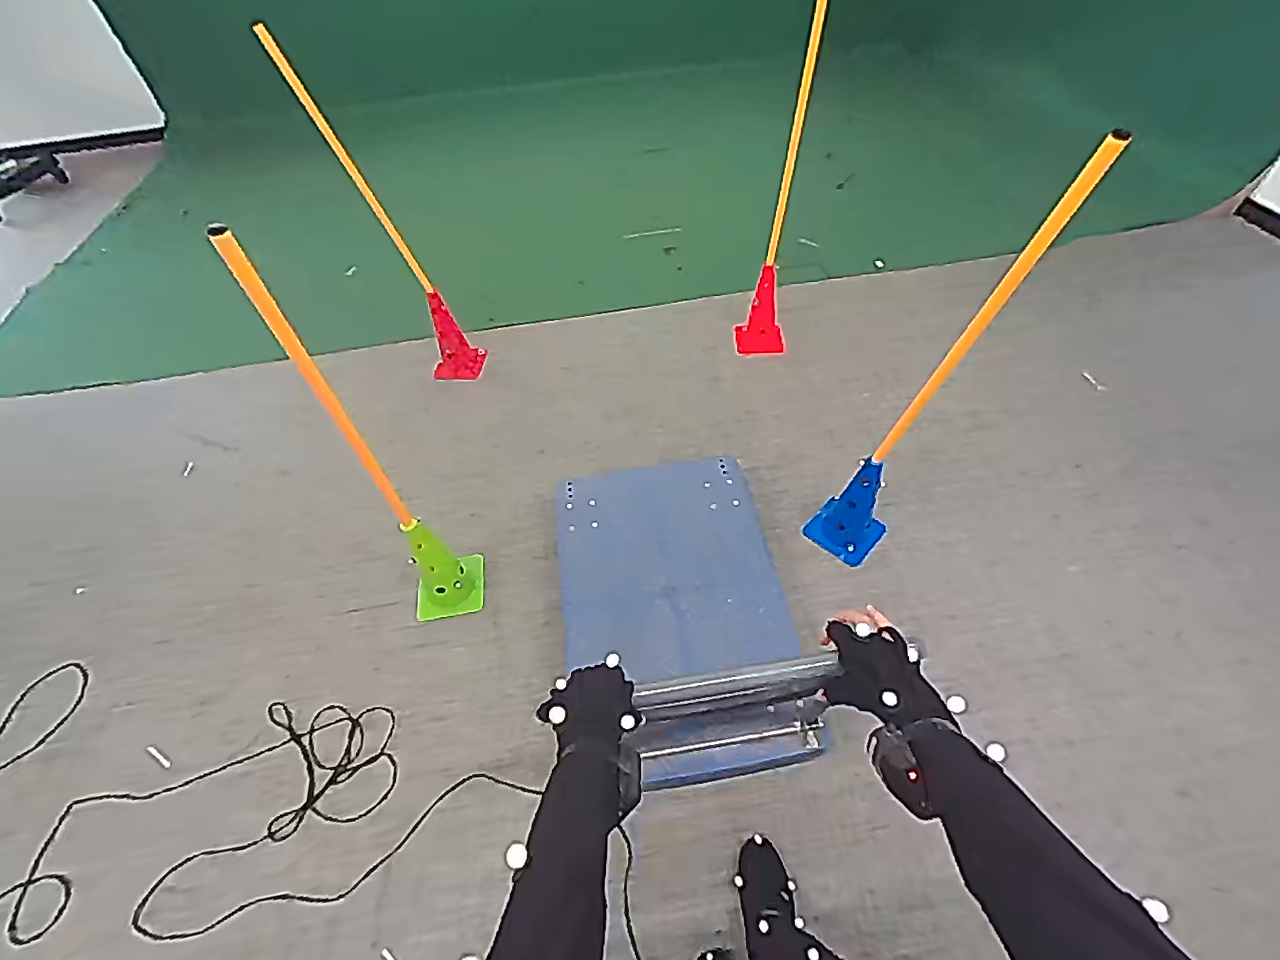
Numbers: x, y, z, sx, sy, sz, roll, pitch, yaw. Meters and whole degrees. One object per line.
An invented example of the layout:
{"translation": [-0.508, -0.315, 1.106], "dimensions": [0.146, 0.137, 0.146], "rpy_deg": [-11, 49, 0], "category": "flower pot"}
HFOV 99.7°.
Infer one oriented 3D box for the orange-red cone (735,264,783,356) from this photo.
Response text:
{"translation": [0.499, -0.704, 2.194], "dimensions": [0.198, 0.360, 0.199], "rpy_deg": [-1, 53, 5], "category": "orange-red cone"}
